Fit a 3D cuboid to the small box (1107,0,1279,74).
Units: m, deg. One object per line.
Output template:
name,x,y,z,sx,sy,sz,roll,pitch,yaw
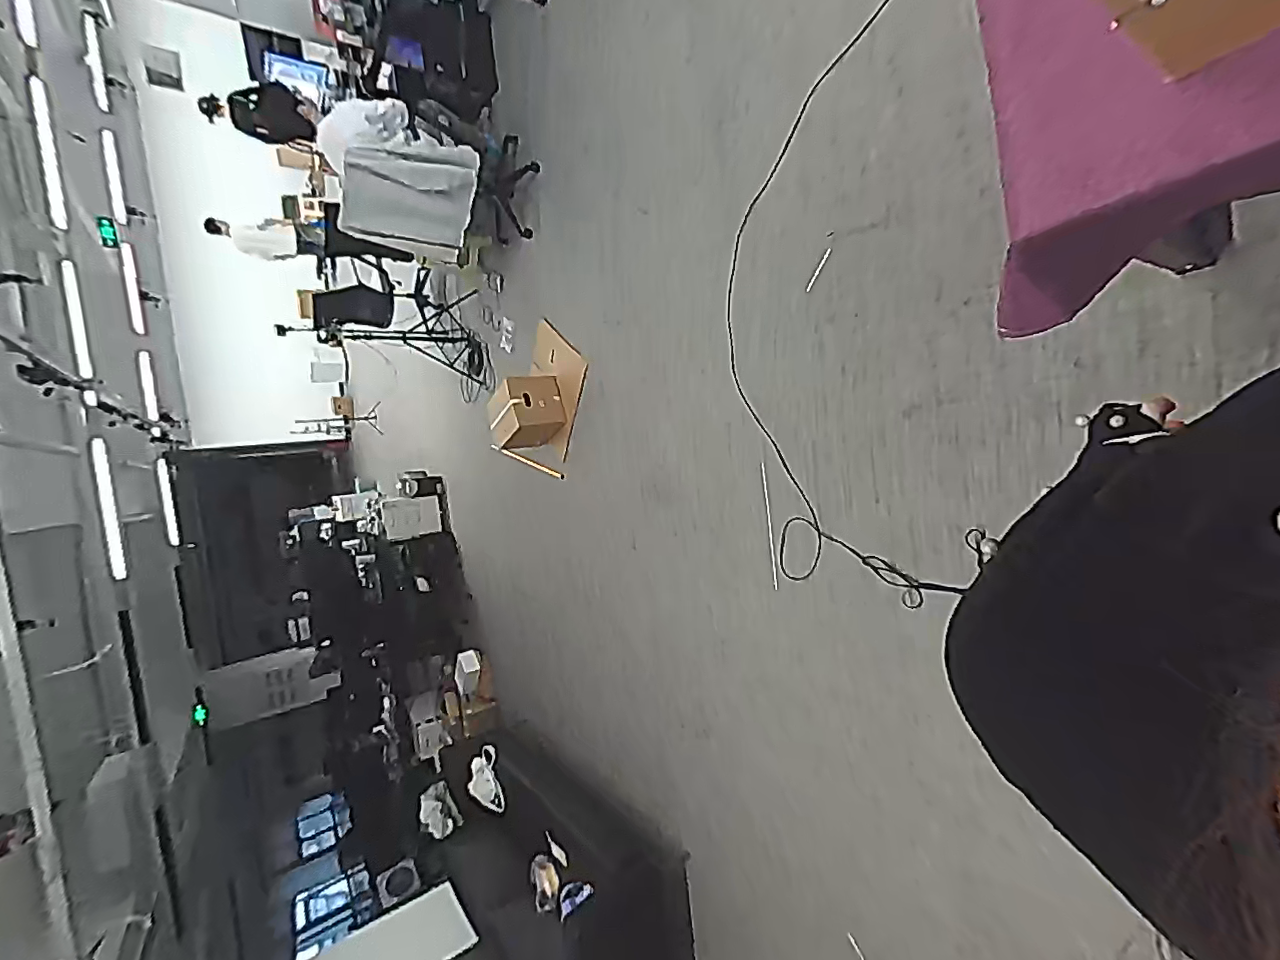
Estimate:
small box,0.527,-0.493,0.454,0.179,0.176,0.168,-3,94,55
